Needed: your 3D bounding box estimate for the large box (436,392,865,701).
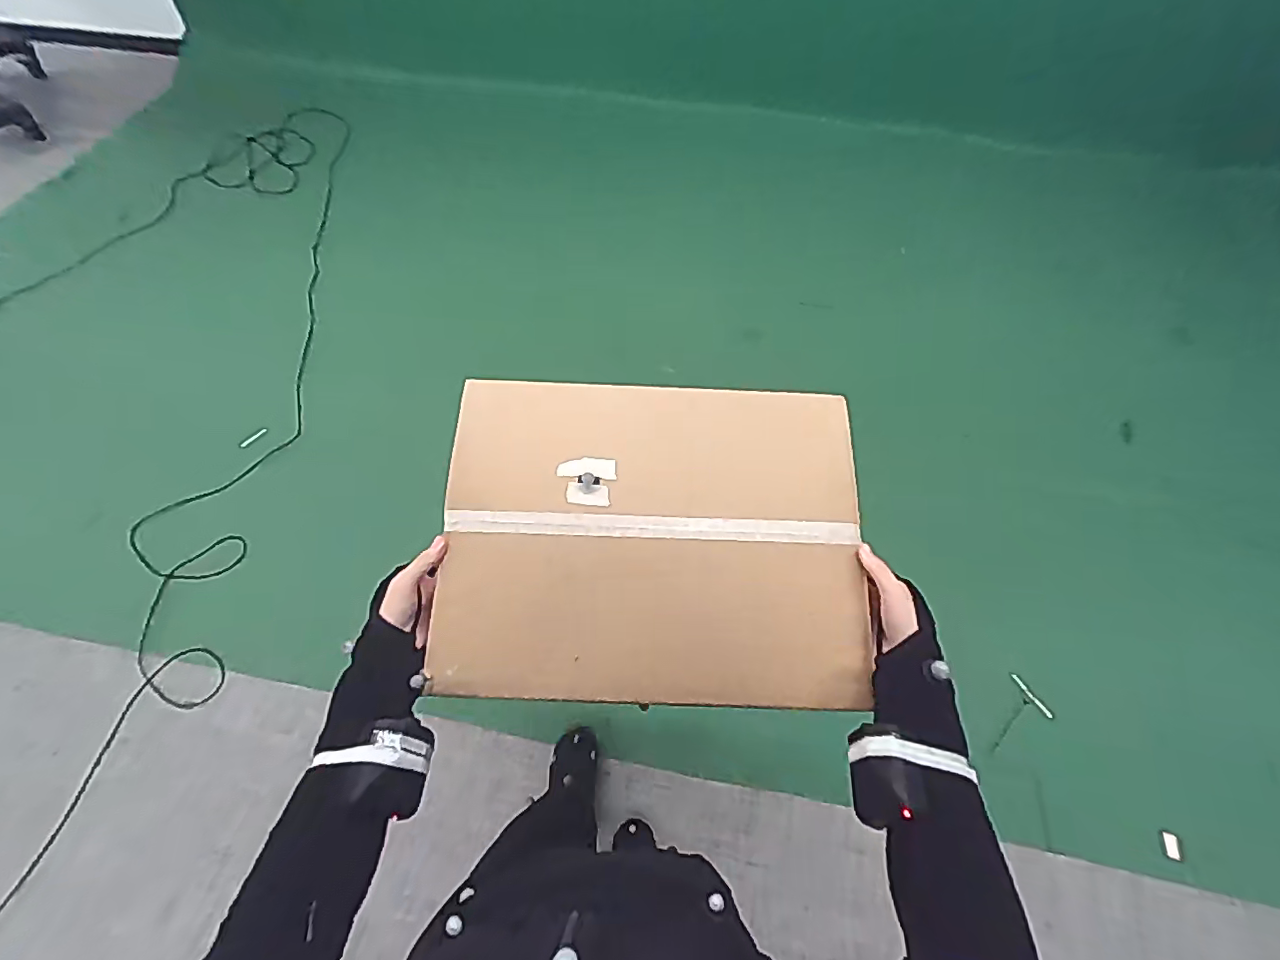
[{"bbox_3d":[0.013,0.098,0.683,0.408,0.320,0.320,2,71,0],"label":"large box"}]
